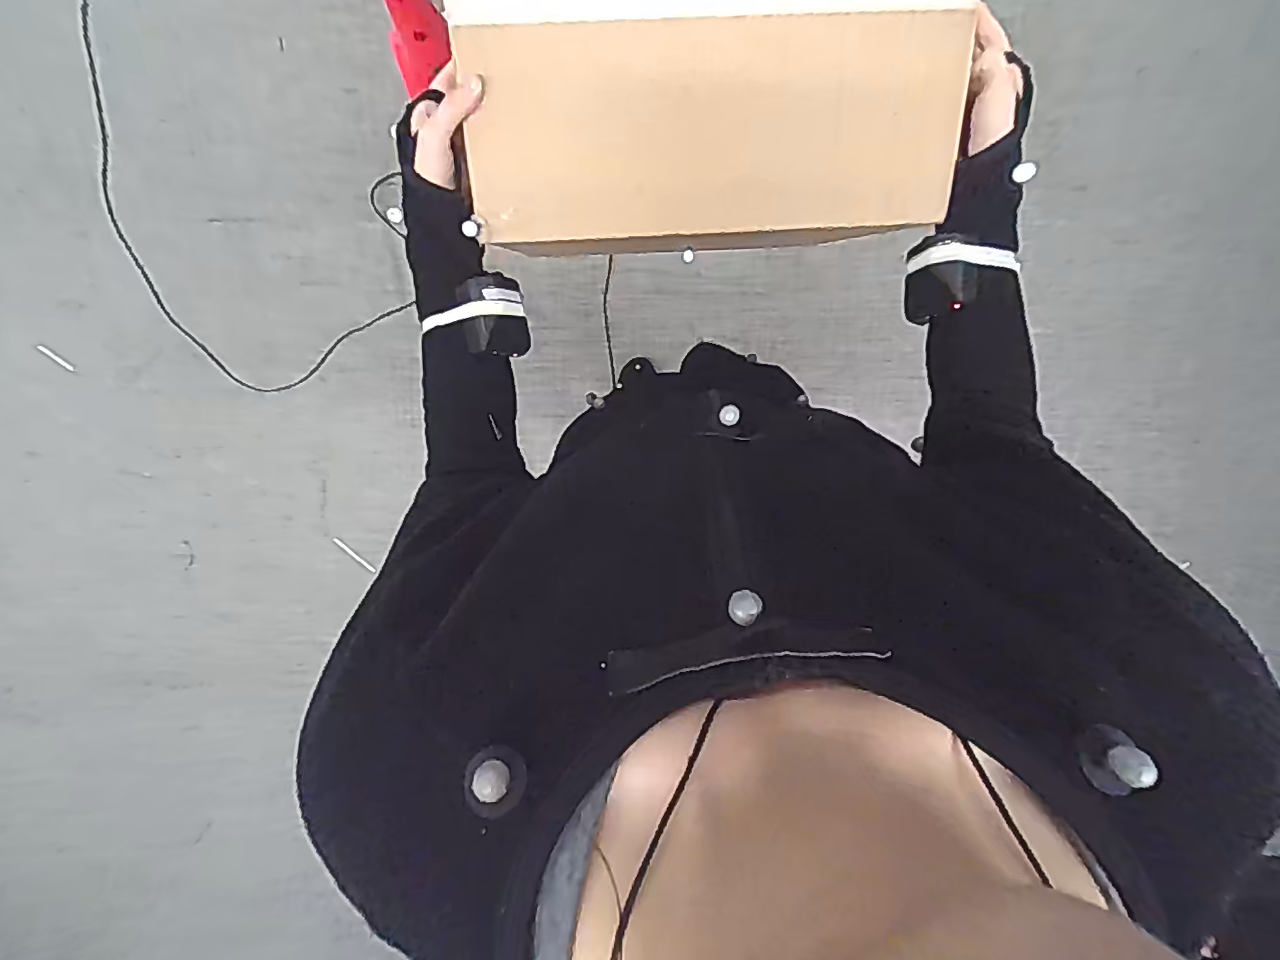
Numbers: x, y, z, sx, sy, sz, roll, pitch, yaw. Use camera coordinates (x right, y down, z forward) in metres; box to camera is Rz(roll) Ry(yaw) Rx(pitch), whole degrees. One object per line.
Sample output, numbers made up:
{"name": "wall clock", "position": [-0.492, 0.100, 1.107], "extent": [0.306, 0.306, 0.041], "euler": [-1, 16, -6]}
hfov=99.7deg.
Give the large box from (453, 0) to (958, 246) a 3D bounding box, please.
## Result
{"name": "large box", "position": [0.050, -0.424, 0.558], "extent": [0.408, 0.320, 0.320], "euler": [-4, 110, -2]}
